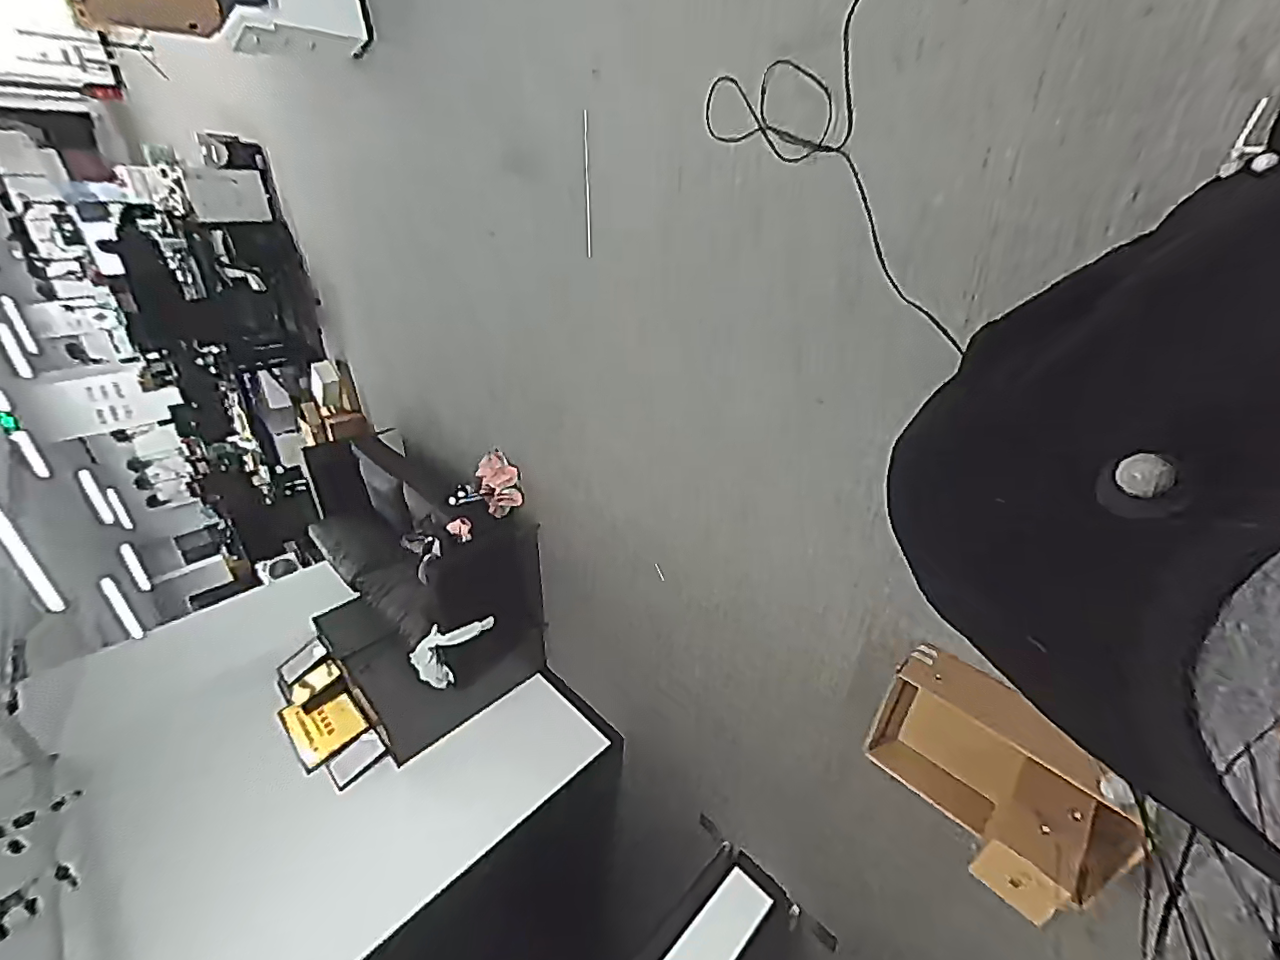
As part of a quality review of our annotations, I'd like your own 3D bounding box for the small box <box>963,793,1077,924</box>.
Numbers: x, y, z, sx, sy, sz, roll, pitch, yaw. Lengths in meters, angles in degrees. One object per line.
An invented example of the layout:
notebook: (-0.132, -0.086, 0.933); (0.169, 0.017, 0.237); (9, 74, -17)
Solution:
small box: (0.951, 0.936, 1.349); (0.168, 0.176, 0.179); (31, 129, 35)
